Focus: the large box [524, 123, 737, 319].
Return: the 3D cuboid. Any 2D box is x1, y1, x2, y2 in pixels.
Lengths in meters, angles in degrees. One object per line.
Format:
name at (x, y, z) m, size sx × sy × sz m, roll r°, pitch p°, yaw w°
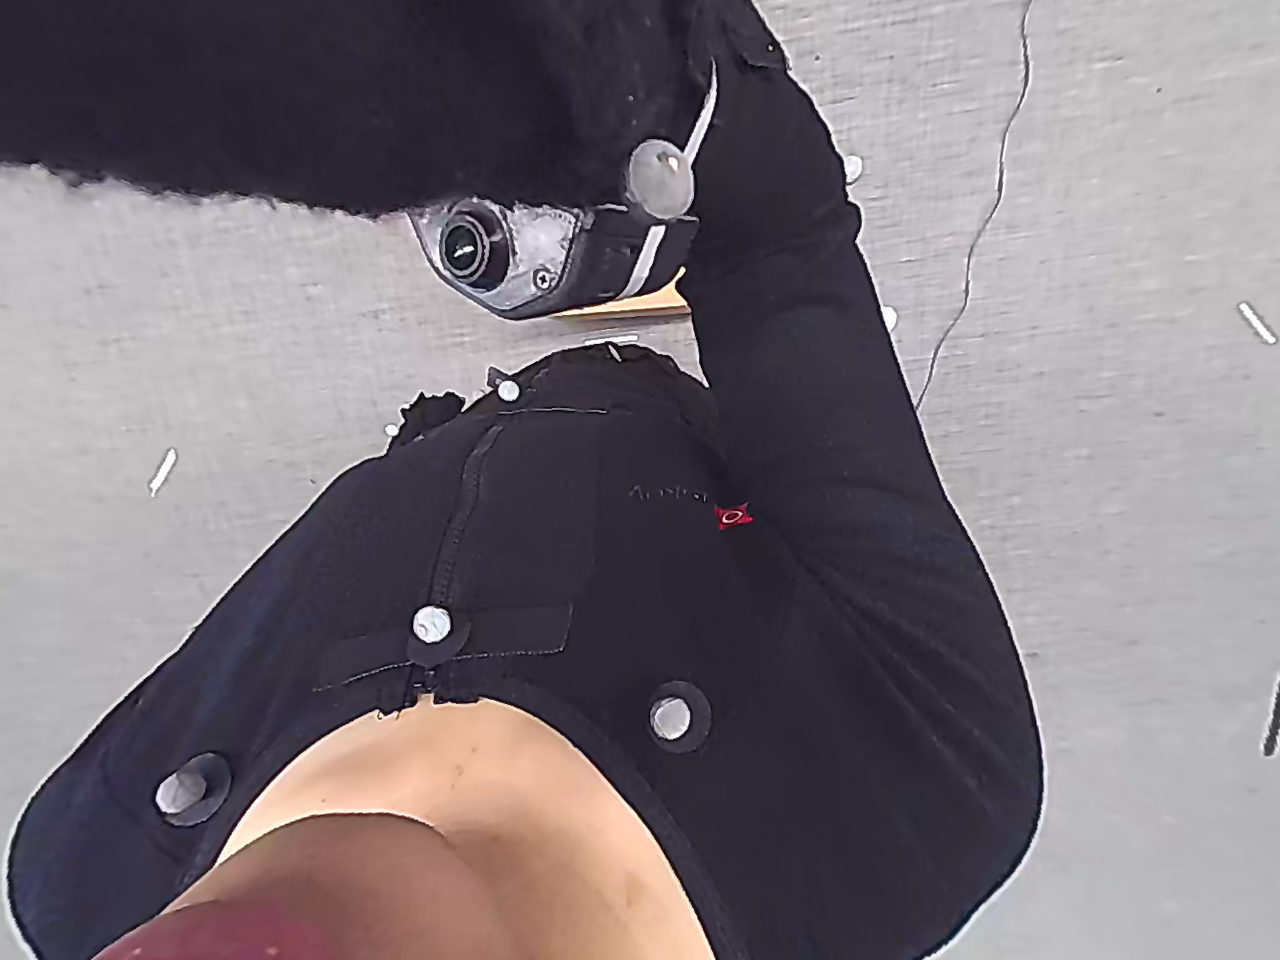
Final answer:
large box at (-0.012, -0.544, 1.206) m, size 0.408 × 0.320 × 0.320 m, roll -4°, pitch 105°, yaw 2°
